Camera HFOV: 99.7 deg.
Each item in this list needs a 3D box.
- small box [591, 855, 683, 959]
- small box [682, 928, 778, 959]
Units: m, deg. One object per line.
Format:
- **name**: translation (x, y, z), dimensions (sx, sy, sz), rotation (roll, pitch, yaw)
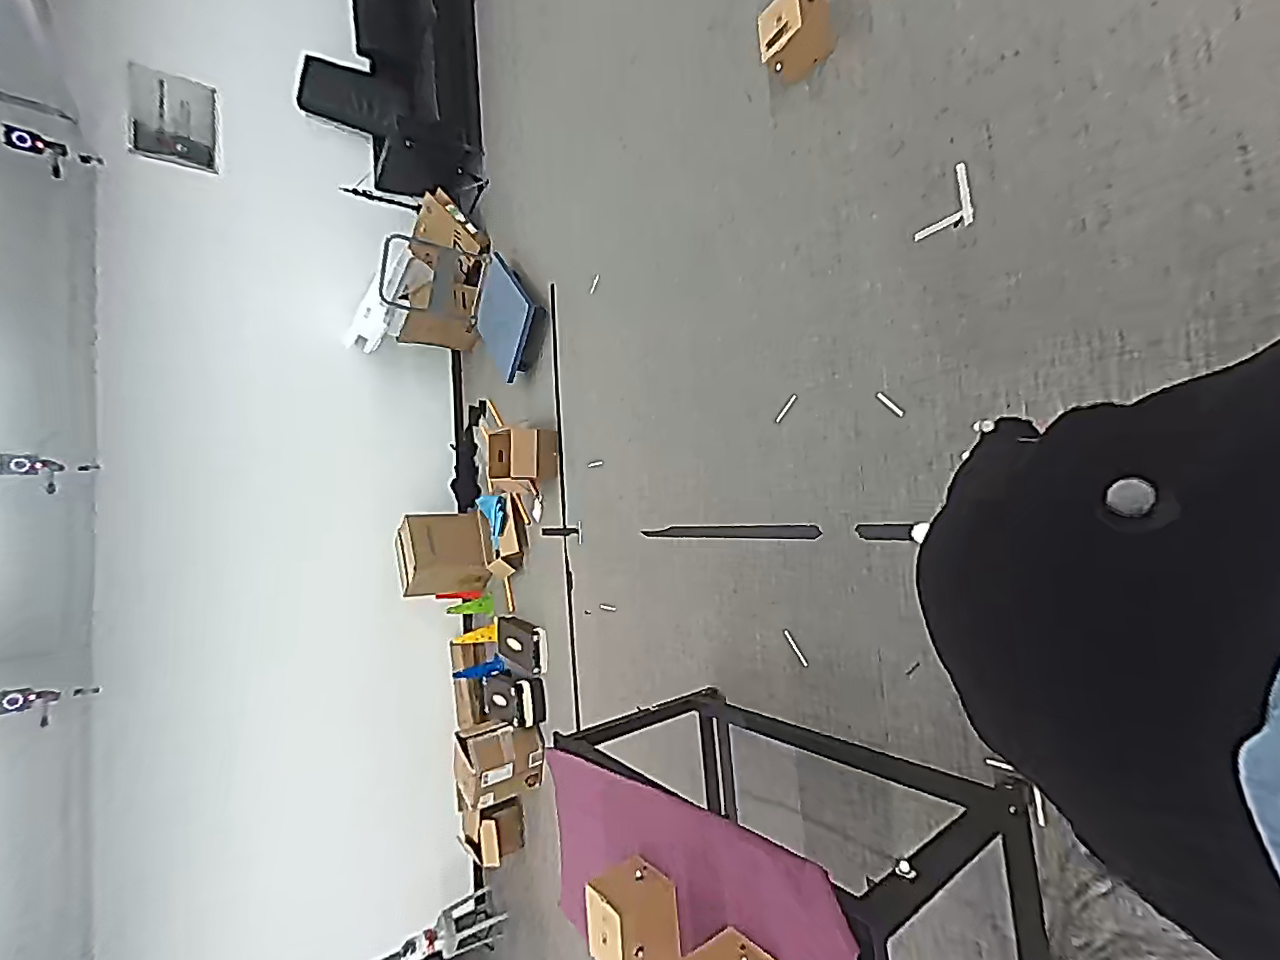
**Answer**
- **small box**: translation (-0.007, 1.092, 1.350), dimensions (0.168, 0.176, 0.179), rotation (-12, 81, 54)
- **small box**: translation (0.194, 1.048, 1.061), dimensions (0.168, 0.176, 0.179), rotation (-14, 79, 55)
